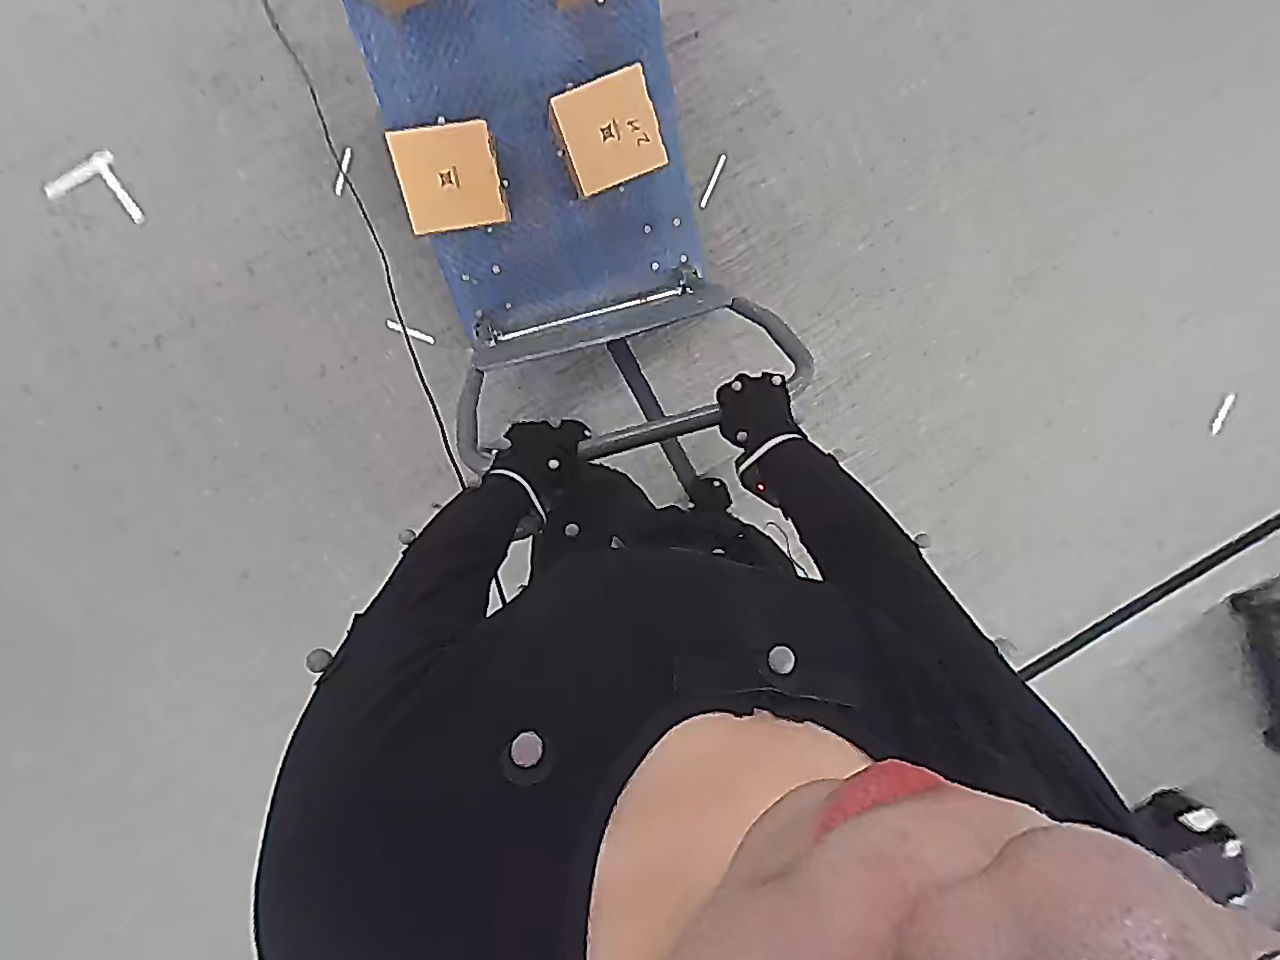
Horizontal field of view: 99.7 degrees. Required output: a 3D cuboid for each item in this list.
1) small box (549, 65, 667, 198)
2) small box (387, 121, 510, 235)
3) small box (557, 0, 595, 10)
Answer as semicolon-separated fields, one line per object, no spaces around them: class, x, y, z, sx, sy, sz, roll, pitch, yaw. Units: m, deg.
small box;-0.065;-0.669;1.061;0.179;0.176;0.168;-22;117;1
small box;-0.360;-0.577;1.051;0.179;0.176;0.168;-13;116;-6
small box;-0.091;-0.958;0.921;0.168;0.176;0.179;-19;118;-1
